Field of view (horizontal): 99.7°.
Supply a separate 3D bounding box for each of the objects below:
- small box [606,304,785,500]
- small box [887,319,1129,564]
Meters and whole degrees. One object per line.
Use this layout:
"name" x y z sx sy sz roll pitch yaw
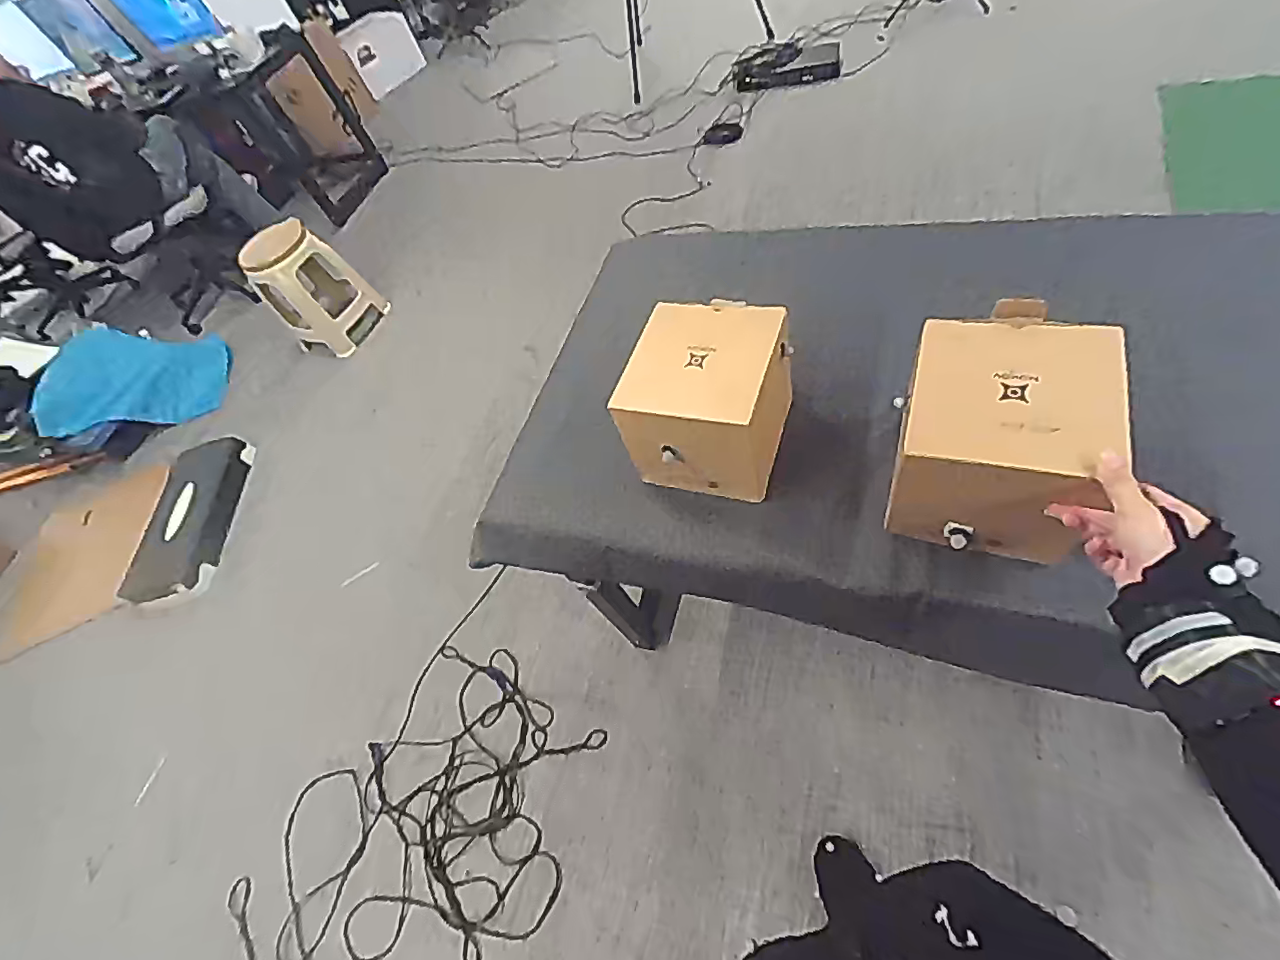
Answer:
"small box" 0.083 -0.095 0.678 0.168 0.176 0.179 10 60 23
"small box" 0.357 -0.039 0.554 0.168 0.176 0.179 9 61 24
